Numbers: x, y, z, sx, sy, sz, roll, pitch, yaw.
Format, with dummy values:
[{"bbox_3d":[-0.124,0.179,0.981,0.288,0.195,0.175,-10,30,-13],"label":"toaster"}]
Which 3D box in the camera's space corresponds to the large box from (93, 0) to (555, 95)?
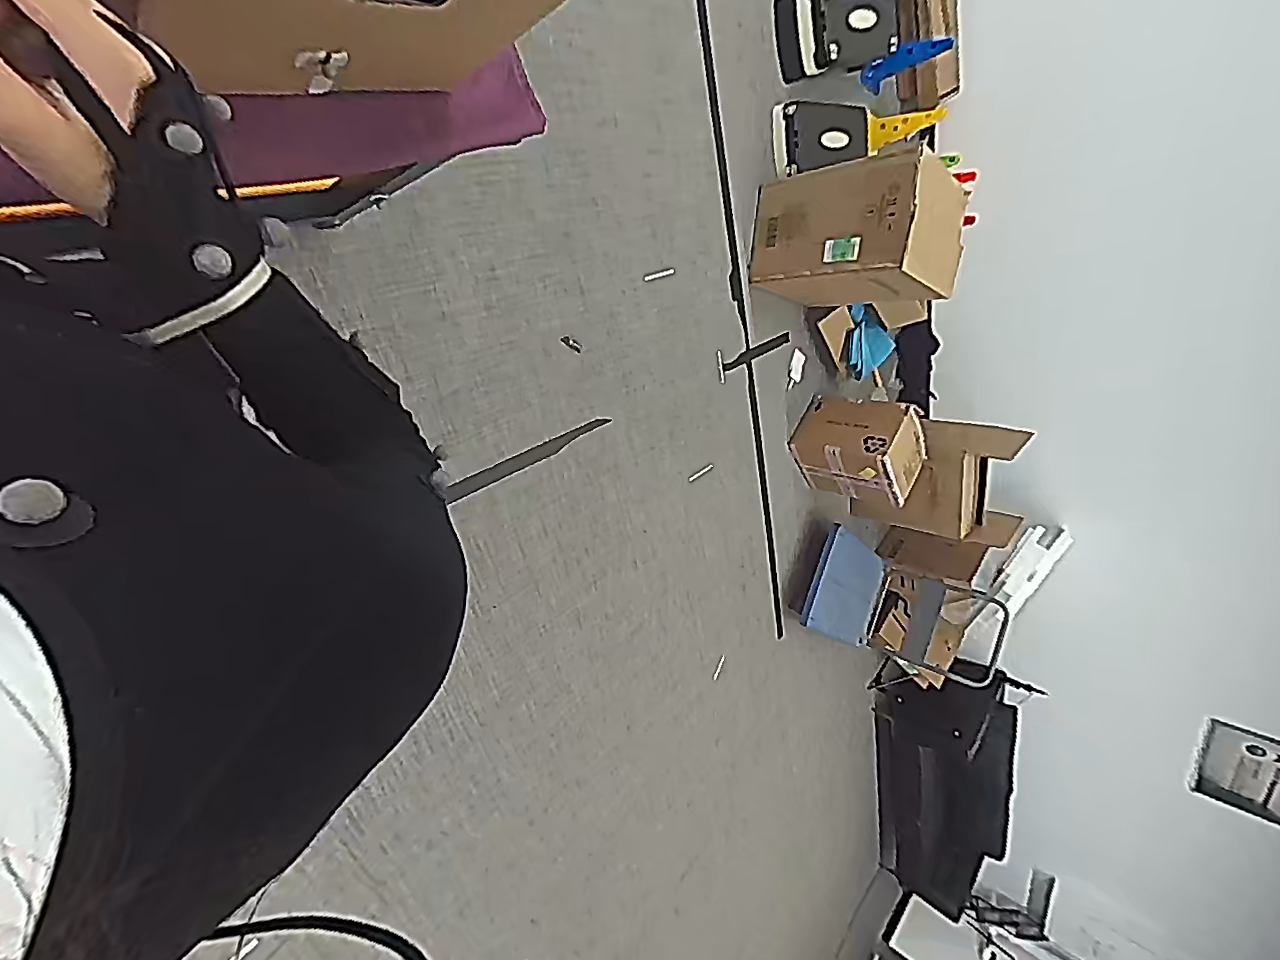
[{"bbox_3d":[-0.261,-0.544,0.359,0.320,0.320,0.408,-33,120,-37],"label":"large box"}]
